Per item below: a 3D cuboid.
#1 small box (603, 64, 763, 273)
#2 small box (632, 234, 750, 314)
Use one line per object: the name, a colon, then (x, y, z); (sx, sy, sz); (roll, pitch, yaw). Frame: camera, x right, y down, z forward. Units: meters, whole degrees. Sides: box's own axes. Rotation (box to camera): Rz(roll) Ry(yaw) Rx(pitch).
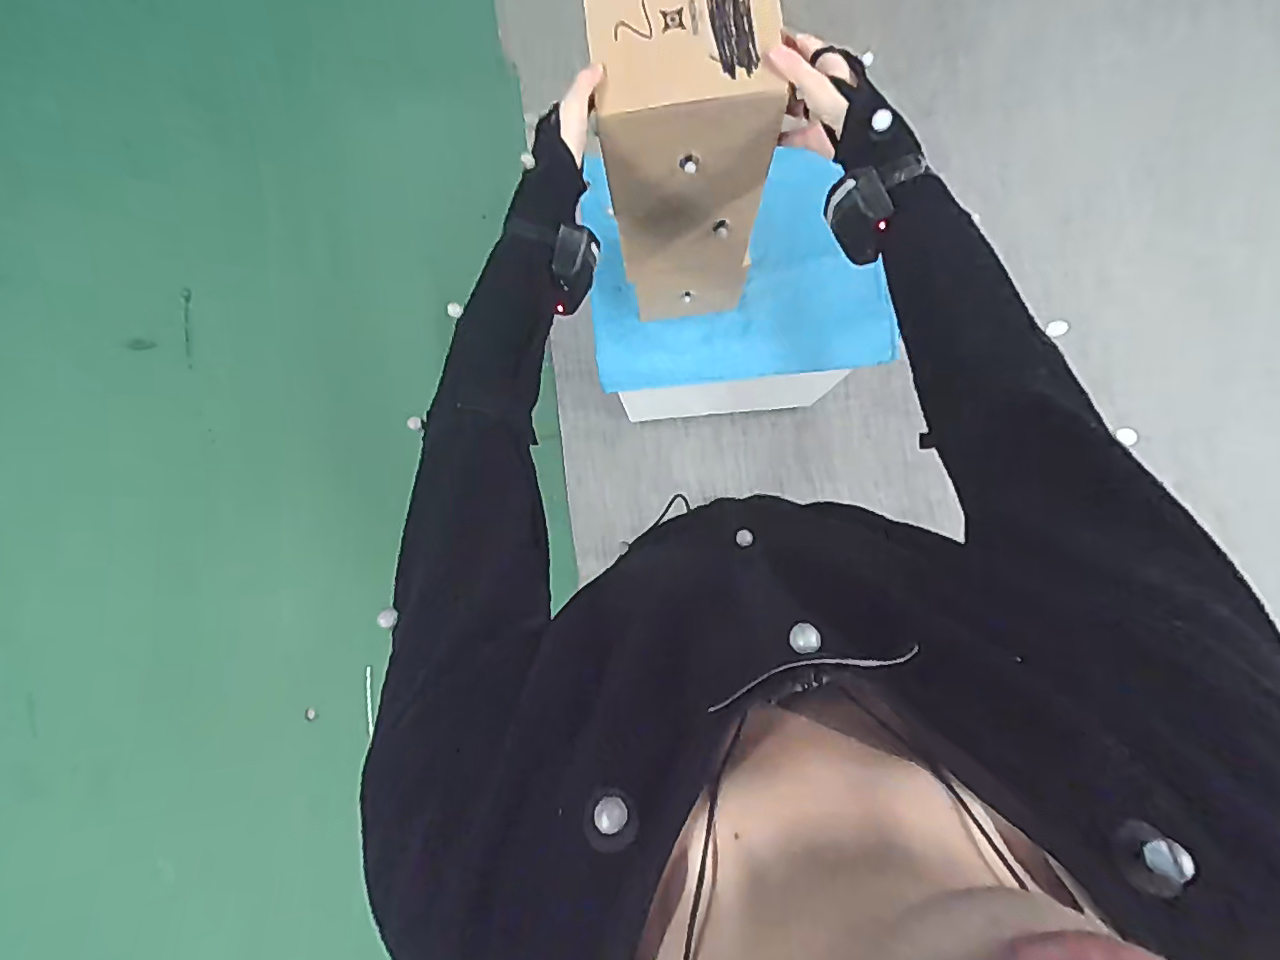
small box: (0.052, -0.395, 0.714); (0.179, 0.176, 0.168); (-7, 85, 3)
small box: (0.071, -0.385, 0.877); (0.179, 0.176, 0.168); (-7, 85, 3)
